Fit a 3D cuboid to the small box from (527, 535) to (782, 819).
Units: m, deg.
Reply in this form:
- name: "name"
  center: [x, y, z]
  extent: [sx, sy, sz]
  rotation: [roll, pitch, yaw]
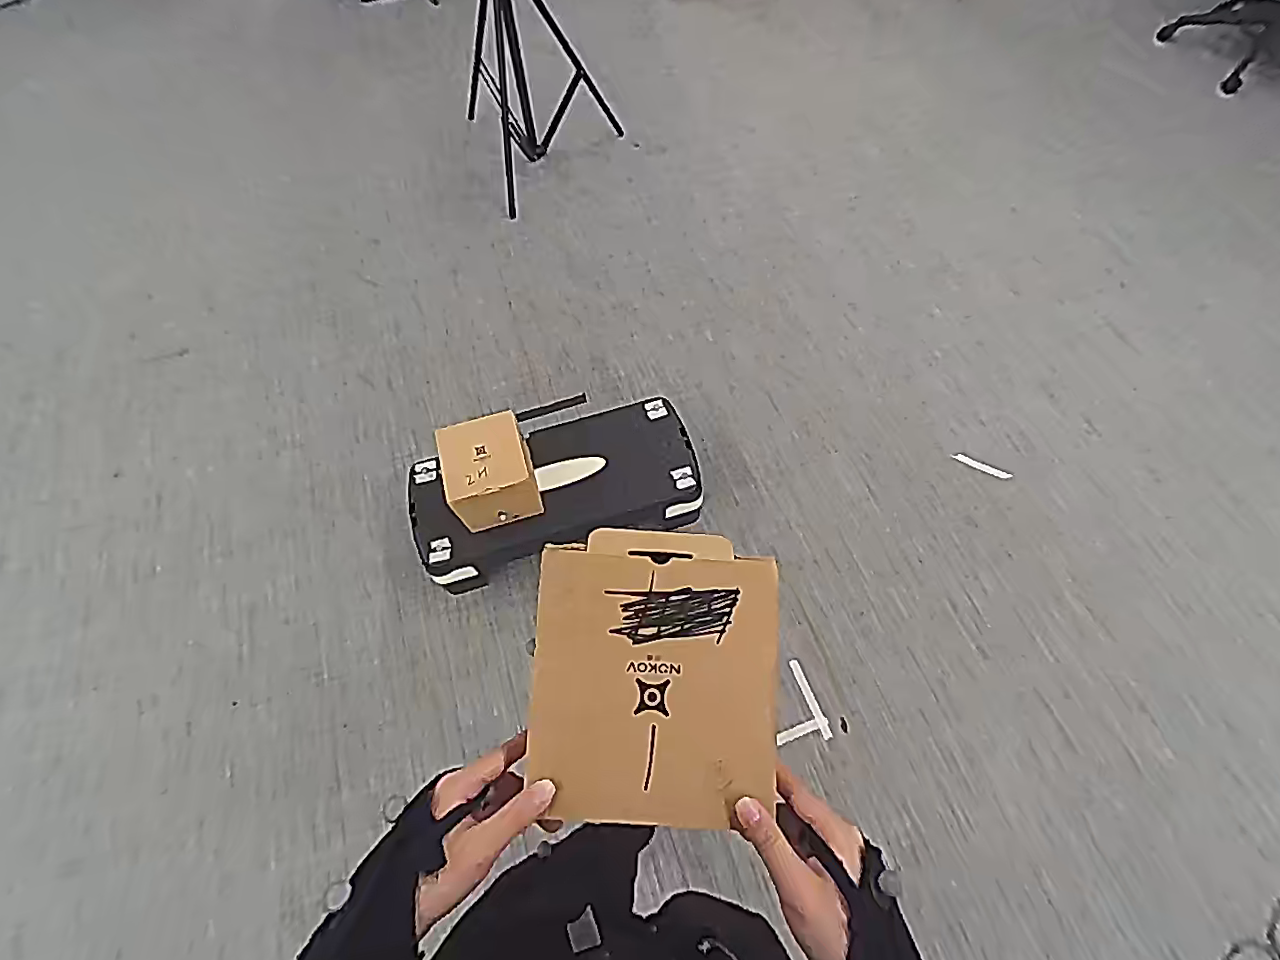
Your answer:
- name: "small box"
  center: [0.012, 0.143, 0.441]
  extent: [0.168, 0.176, 0.179]
  rotation: [3, 80, 1]

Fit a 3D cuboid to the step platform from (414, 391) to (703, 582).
- name: "step platform"
  center: [-0.192, 0.010, 1.338]
  extent: [0.684, 0.204, 0.286]
  rotation: [-17, 65, -7]

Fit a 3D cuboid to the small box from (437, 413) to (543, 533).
- name: "small box"
  center: [-0.316, -0.011, 1.157]
  extent: [0.168, 0.176, 0.179]
  rotation: [-16, 65, -6]
